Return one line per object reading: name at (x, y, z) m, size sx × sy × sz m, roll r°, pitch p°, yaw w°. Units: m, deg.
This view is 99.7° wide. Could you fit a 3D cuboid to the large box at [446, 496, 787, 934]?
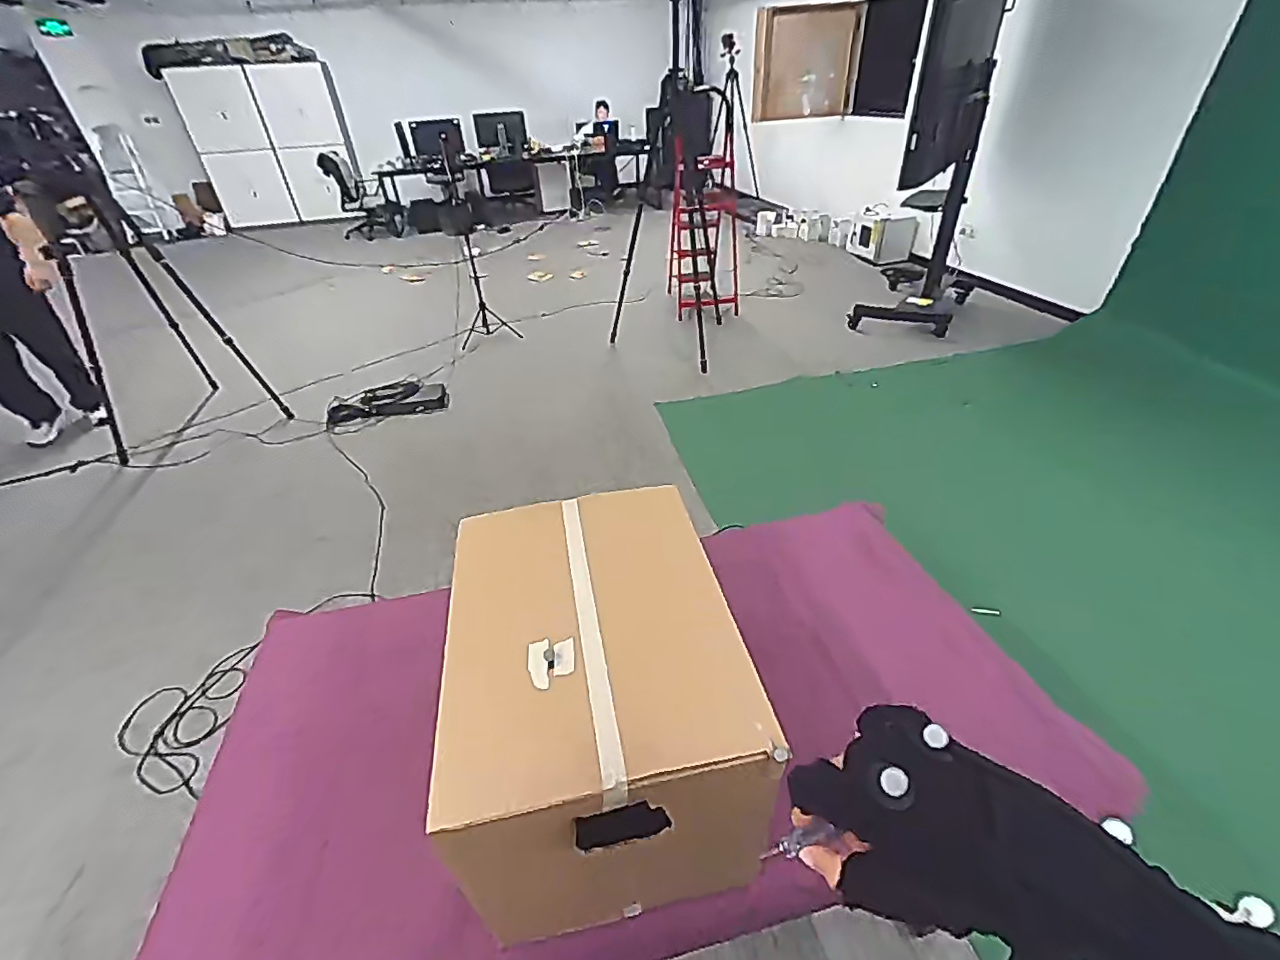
large box at (-0.051, 0.276, 0.715) m, size 0.320 × 0.320 × 0.408 m, roll -9°, pitch 37°, yaw -8°
